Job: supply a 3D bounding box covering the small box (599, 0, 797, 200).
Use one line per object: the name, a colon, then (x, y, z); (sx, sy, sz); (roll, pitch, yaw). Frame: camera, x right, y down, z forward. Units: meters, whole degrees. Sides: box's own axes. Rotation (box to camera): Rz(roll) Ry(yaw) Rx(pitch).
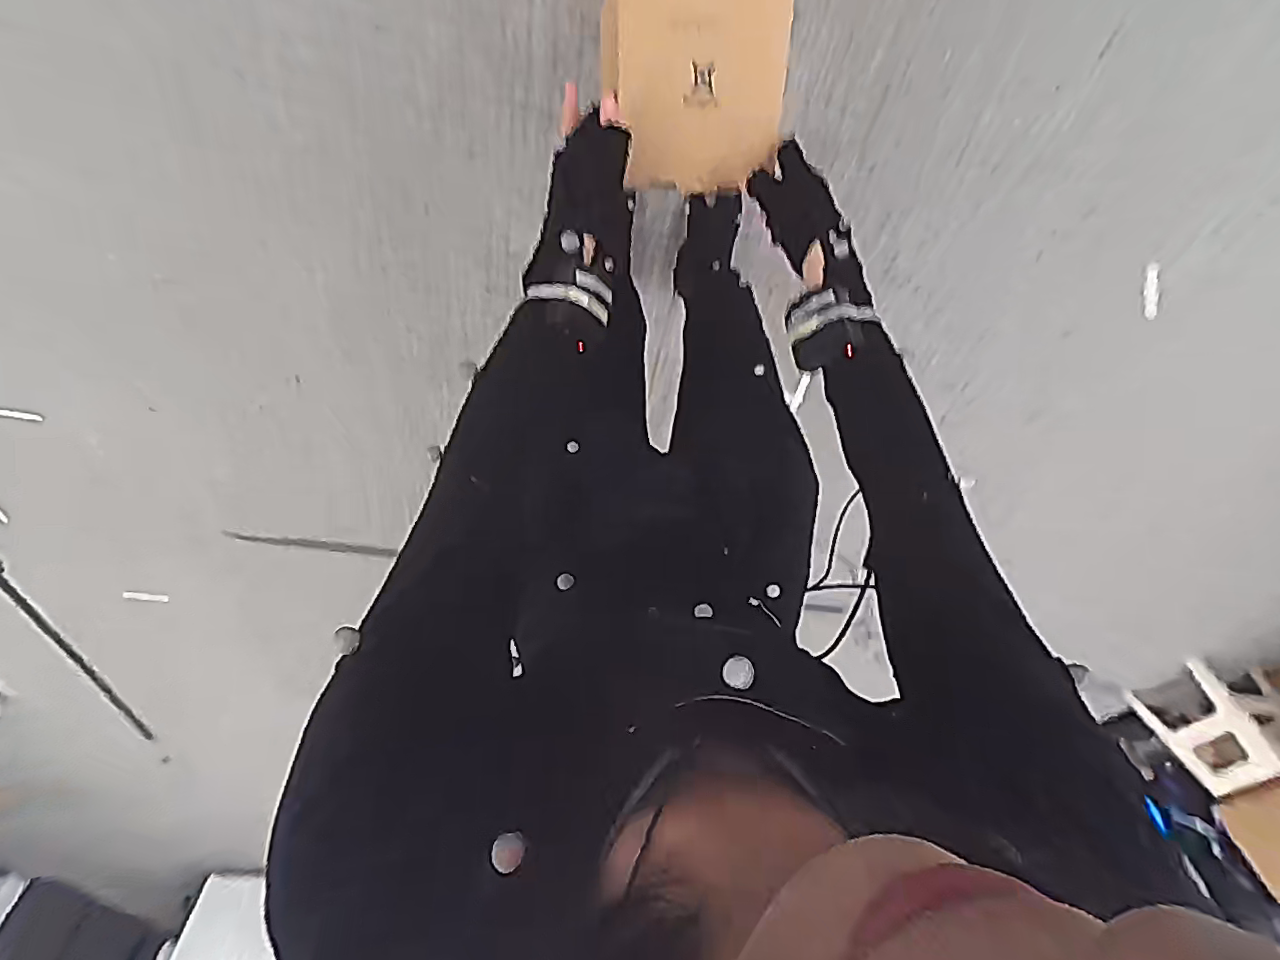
small box: (0.047, -0.397, 0.573); (0.168, 0.176, 0.179); (-4, 116, -9)
